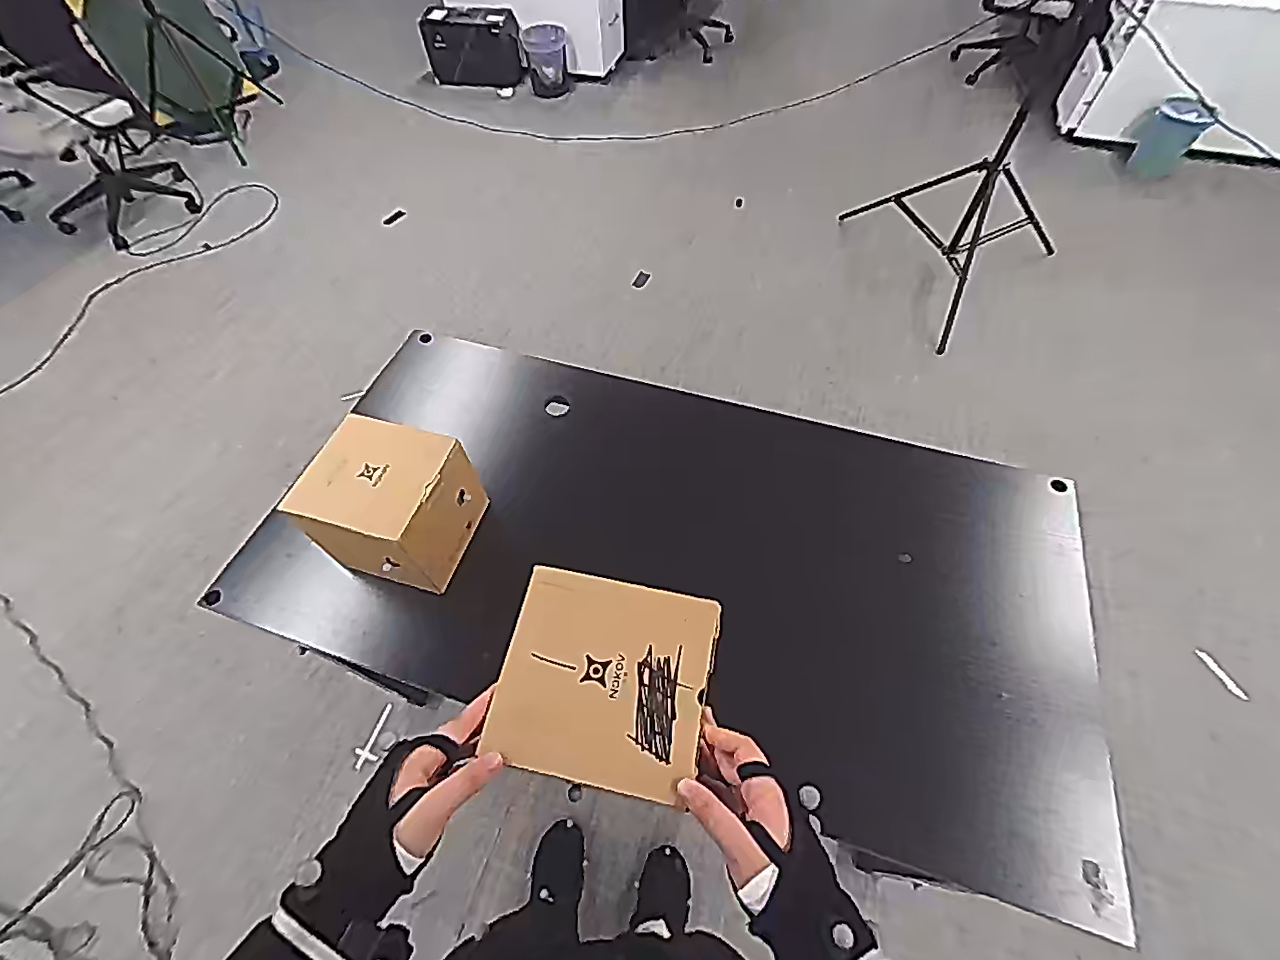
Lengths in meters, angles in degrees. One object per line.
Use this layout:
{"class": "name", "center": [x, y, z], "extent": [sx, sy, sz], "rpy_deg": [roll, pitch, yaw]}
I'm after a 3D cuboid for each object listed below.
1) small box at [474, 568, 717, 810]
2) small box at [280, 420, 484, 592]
{"class": "small box", "center": [-0.032, 0.206, 0.530], "extent": [0.179, 0.176, 0.168], "rpy_deg": [11, 61, 6]}
{"class": "small box", "center": [-0.348, 0.043, 0.772], "extent": [0.179, 0.176, 0.168], "rpy_deg": [12, 57, 10]}
